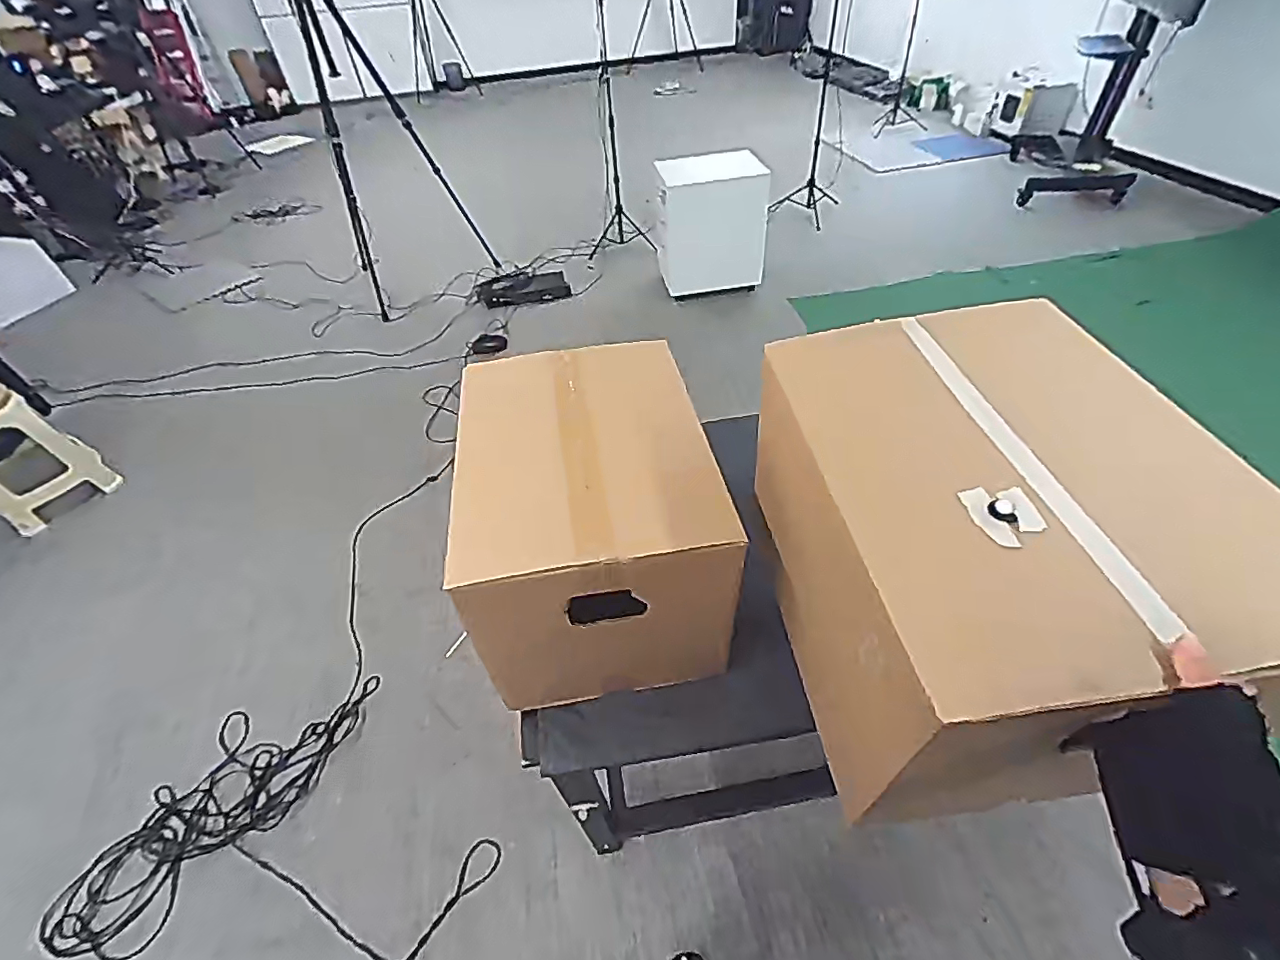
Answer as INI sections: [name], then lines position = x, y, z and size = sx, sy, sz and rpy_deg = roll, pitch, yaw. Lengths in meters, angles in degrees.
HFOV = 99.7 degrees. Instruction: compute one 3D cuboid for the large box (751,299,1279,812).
[large box]
position = 0.321, 0.070, 0.565
size = 0.320, 0.320, 0.408
rpy_deg = -10, 48, 1
